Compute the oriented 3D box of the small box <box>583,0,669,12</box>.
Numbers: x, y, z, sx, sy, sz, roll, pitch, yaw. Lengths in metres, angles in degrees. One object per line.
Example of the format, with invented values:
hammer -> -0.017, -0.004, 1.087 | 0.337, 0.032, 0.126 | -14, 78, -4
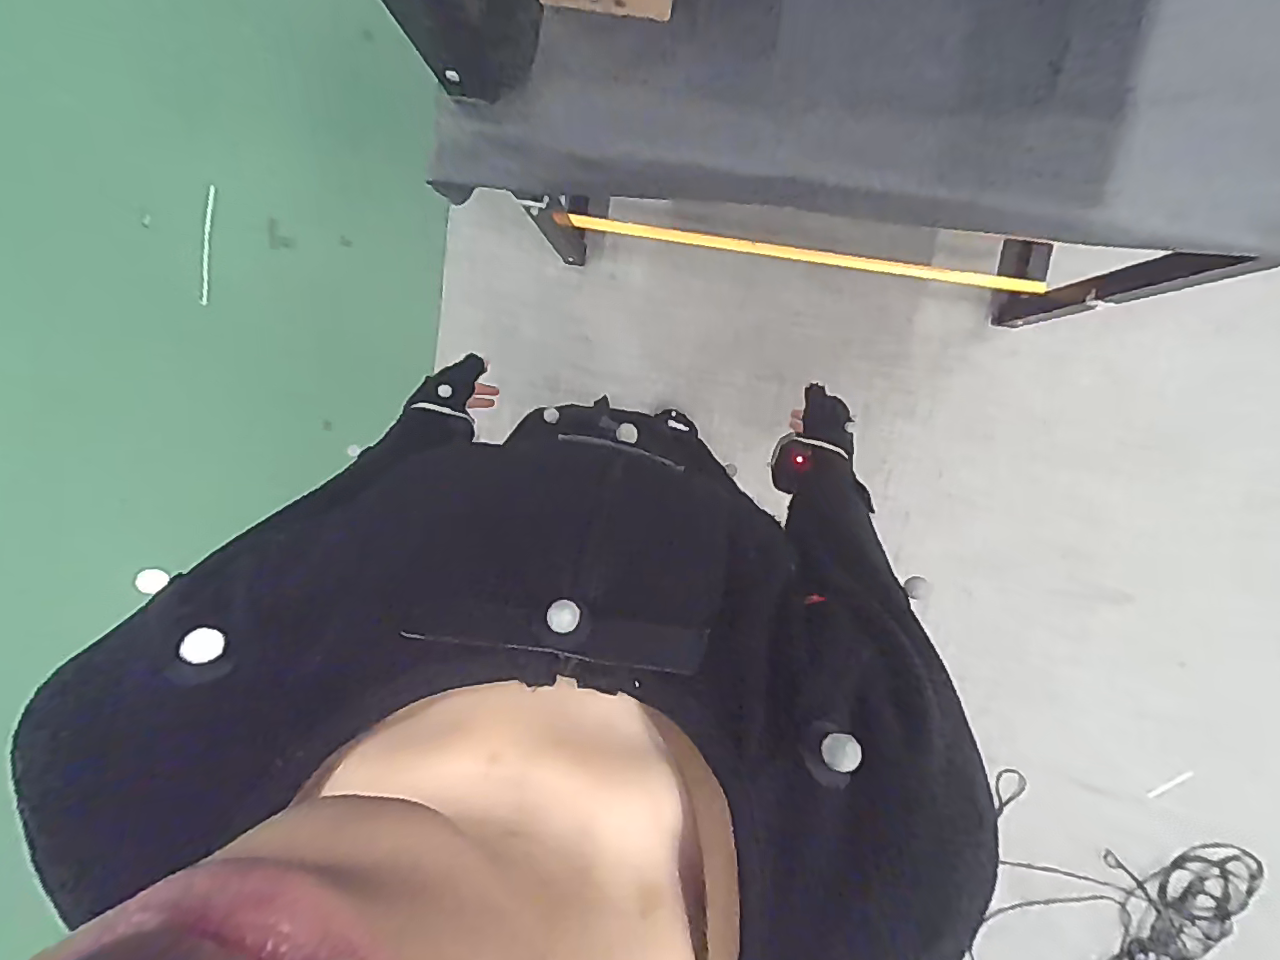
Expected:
small box -> -0.036, -0.665, 0.579 | 0.168, 0.176, 0.179 | 9, 98, 2
